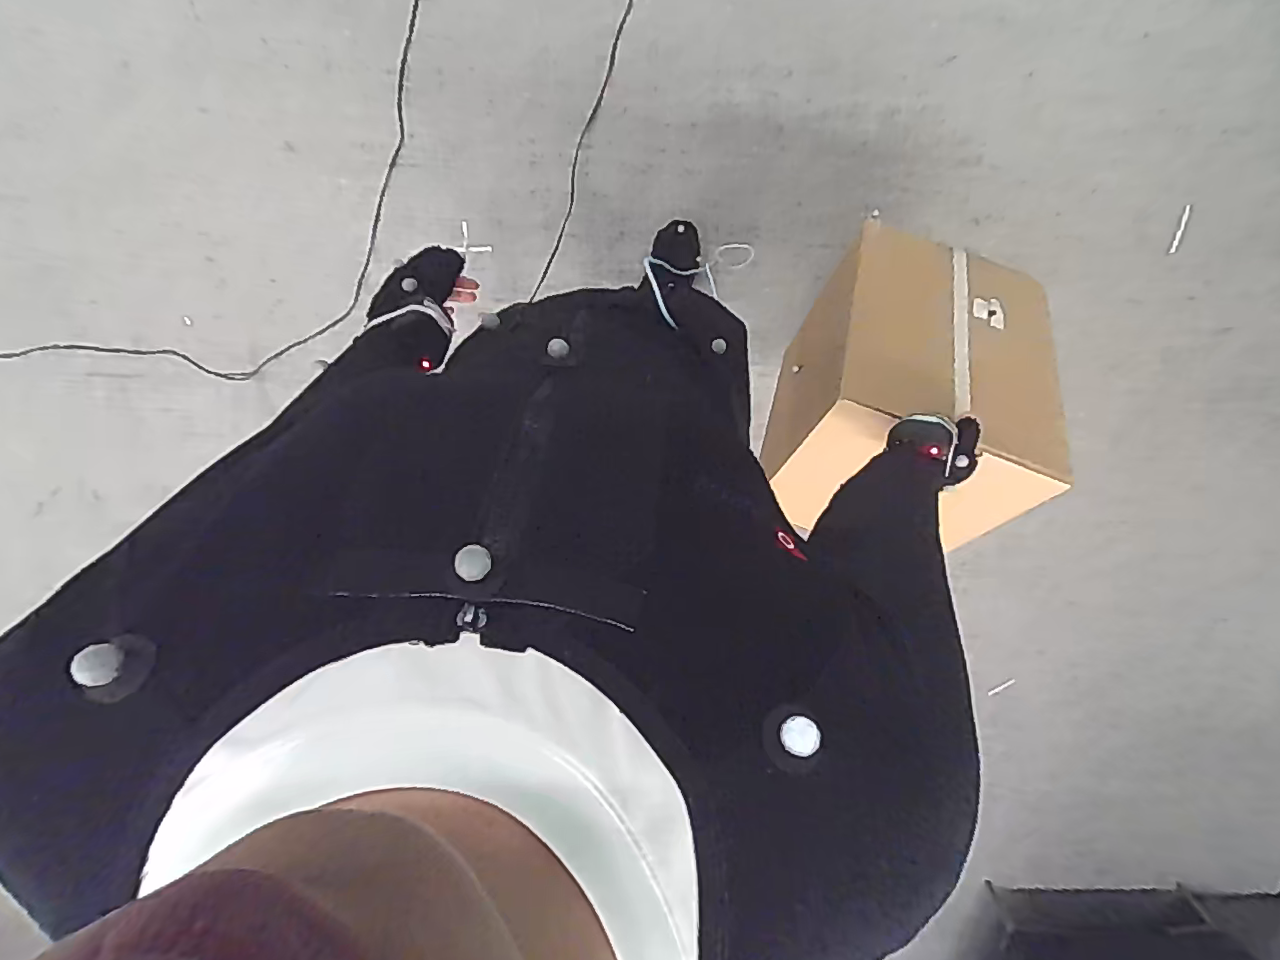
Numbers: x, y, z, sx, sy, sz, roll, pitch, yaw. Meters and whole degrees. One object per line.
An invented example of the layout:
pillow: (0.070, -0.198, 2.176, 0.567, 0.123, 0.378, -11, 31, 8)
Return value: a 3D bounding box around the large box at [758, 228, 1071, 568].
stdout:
large box: (0.419, -0.125, 0.897, 0.320, 0.408, 0.320, 21, 148, -1)
